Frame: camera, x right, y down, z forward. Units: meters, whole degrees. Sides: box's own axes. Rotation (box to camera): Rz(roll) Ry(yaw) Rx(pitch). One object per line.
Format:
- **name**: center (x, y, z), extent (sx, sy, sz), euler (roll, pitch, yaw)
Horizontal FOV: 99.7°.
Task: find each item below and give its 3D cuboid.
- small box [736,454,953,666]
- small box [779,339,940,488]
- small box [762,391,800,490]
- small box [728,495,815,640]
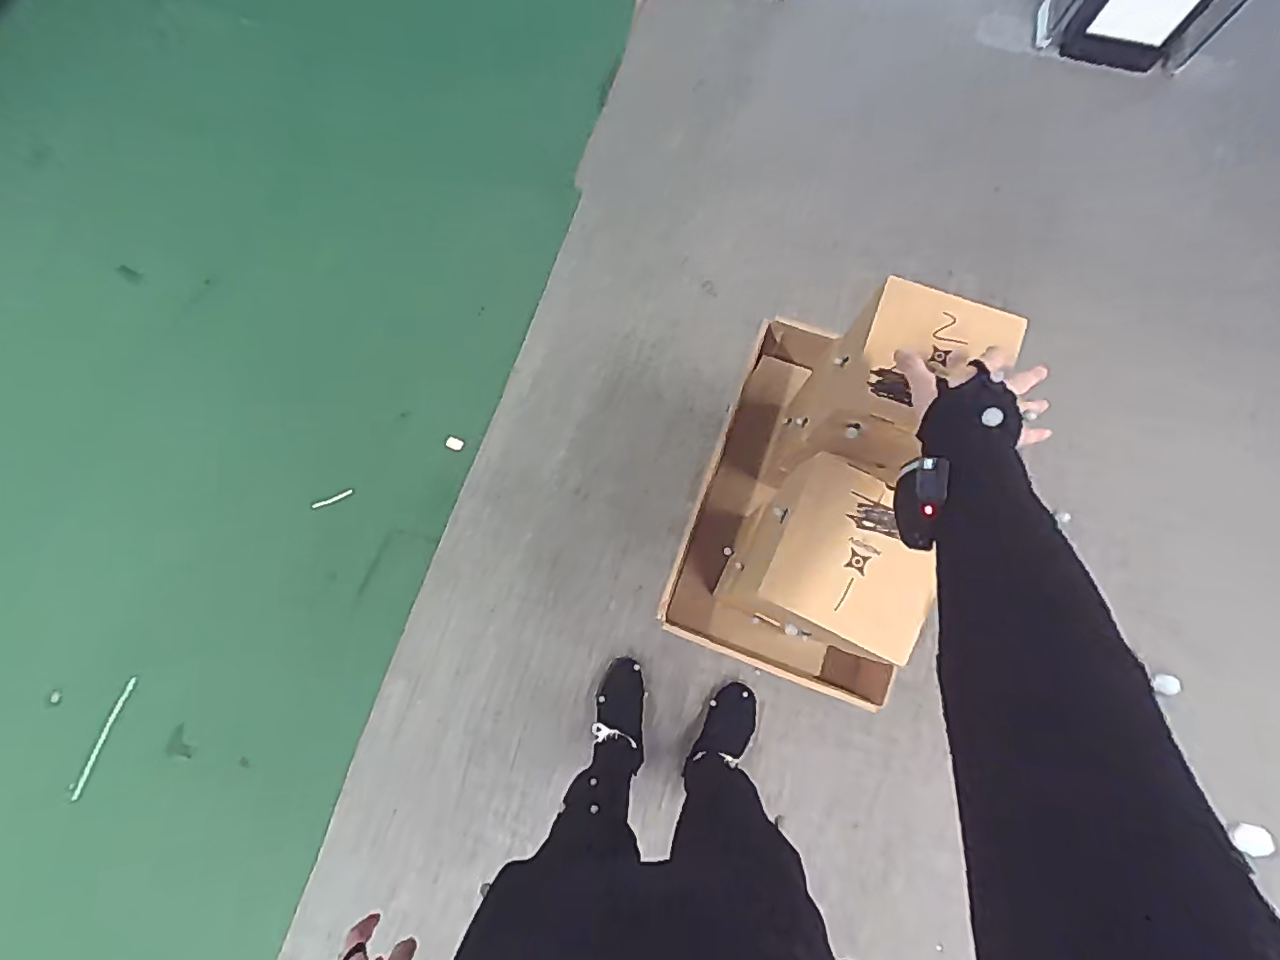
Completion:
- **small box**: center (0.230, 0.096, 0.654), extent (0.168, 0.176, 0.179), euler (26, 80, 6)
- **small box**: center (0.336, -0.090, 0.862), extent (0.168, 0.176, 0.179), euler (20, 81, 5)
- **small box**: center (0.342, -0.061, 1.021), extent (0.168, 0.176, 0.179), euler (20, 81, 6)
- **small box**: center (0.243, 0.131, 0.814), extent (0.168, 0.176, 0.179), euler (26, 79, 6)
